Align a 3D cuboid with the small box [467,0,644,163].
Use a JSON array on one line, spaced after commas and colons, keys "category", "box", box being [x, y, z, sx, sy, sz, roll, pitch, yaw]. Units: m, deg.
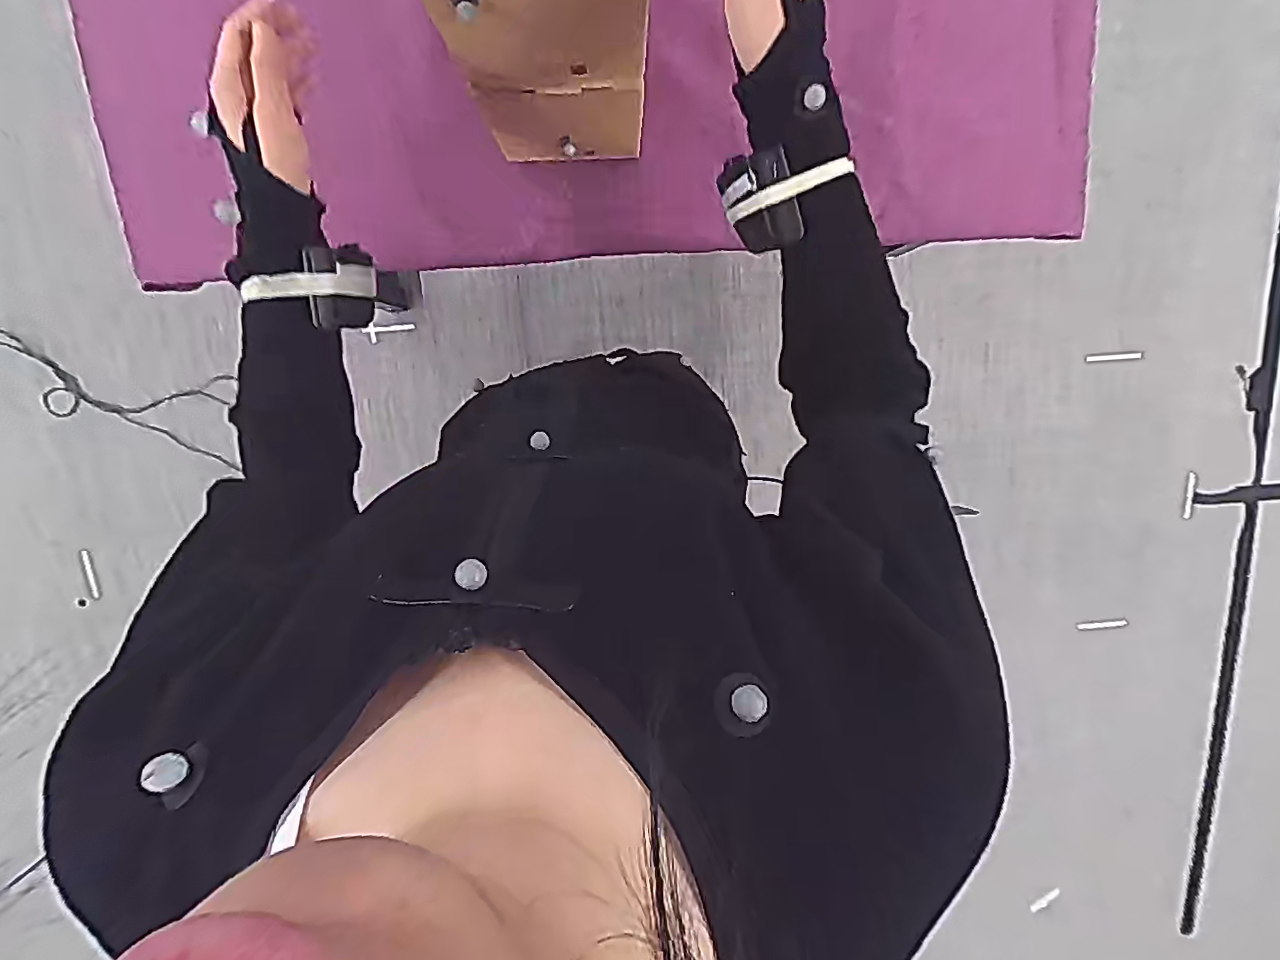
[{"category": "small box", "box": [-0.083, -0.468, 0.580, 0.168, 0.176, 0.179, -2, 100, -1]}]
